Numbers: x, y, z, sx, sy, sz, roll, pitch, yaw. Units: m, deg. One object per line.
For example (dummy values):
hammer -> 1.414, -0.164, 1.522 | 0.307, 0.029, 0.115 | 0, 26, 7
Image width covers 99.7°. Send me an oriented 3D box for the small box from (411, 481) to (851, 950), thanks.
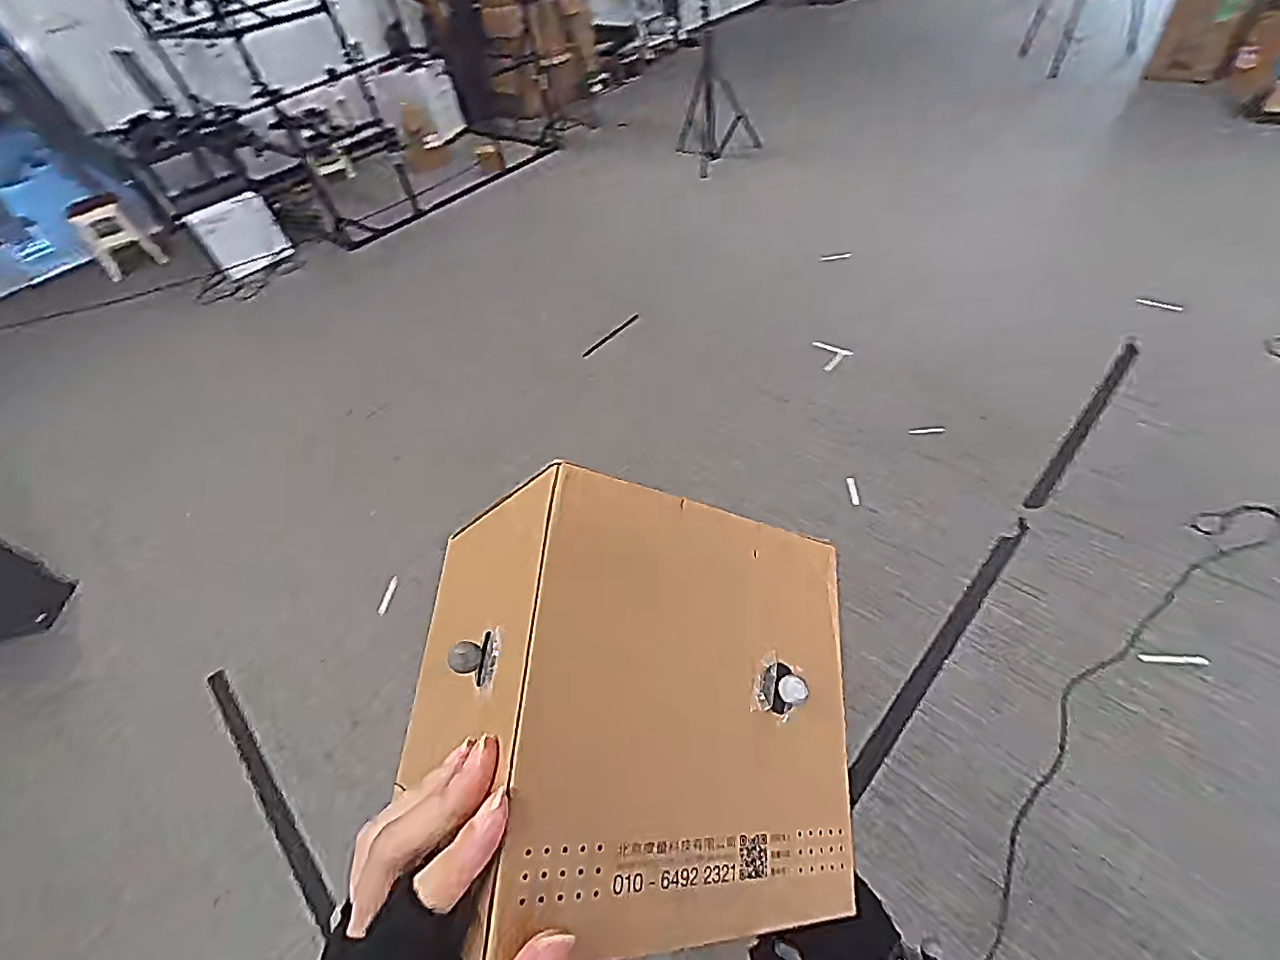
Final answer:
small box -> -0.007, 0.119, 0.291 | 0.168, 0.179, 0.176 | 18, 65, -27
